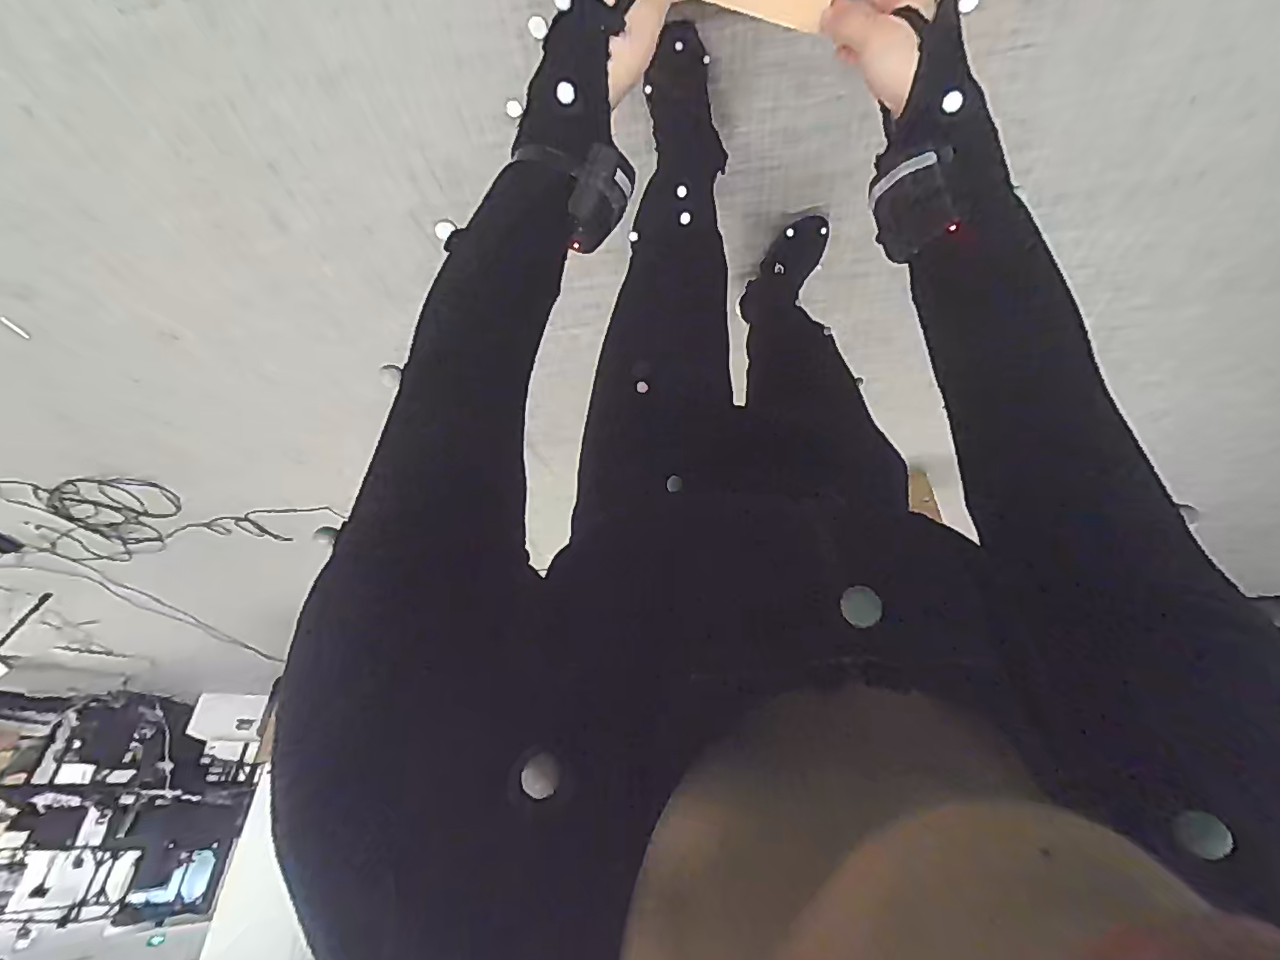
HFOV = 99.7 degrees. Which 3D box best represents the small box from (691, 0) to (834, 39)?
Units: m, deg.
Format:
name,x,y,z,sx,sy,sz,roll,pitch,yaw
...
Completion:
name,x,y,z,sx,sy,sz,roll,pitch,yaw
small box,0.094,-0.500,0.421,0.168,0.176,0.179,7,145,-12
